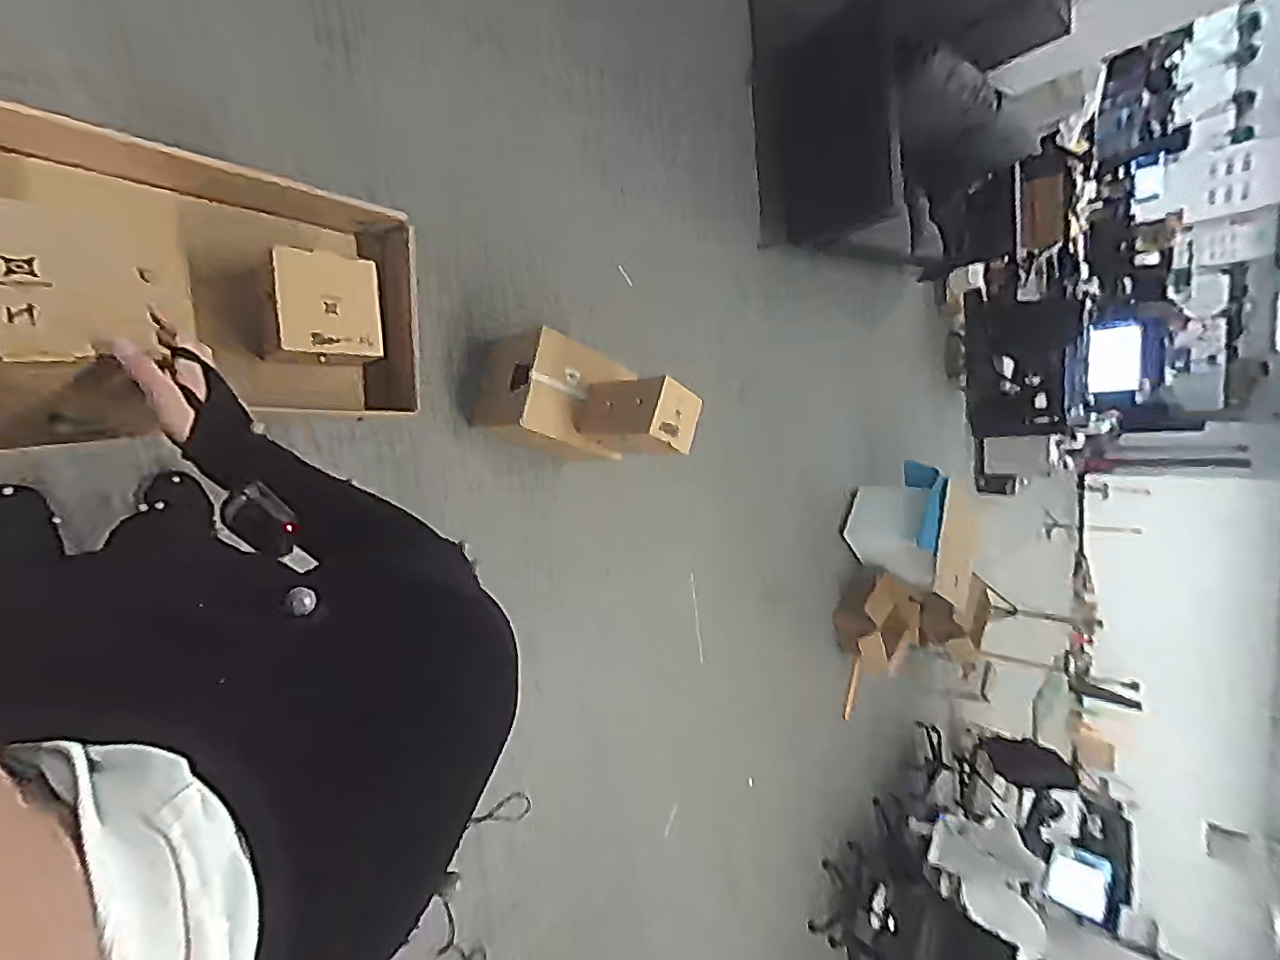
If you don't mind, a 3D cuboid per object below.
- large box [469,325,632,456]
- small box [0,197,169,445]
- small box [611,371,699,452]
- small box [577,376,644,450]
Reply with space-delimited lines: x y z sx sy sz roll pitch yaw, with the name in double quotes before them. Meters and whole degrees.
"large box" -0.293 -0.274 1.807 0.408 0.320 0.320 18 79 -42
"small box" -0.598 -0.153 0.543 0.168 0.176 0.179 -13 76 -42
"small box" 0.038 -0.192 1.563 0.168 0.176 0.179 27 74 -41
"small box" -0.070 -0.205 1.685 0.168 0.176 0.179 27 76 -41
